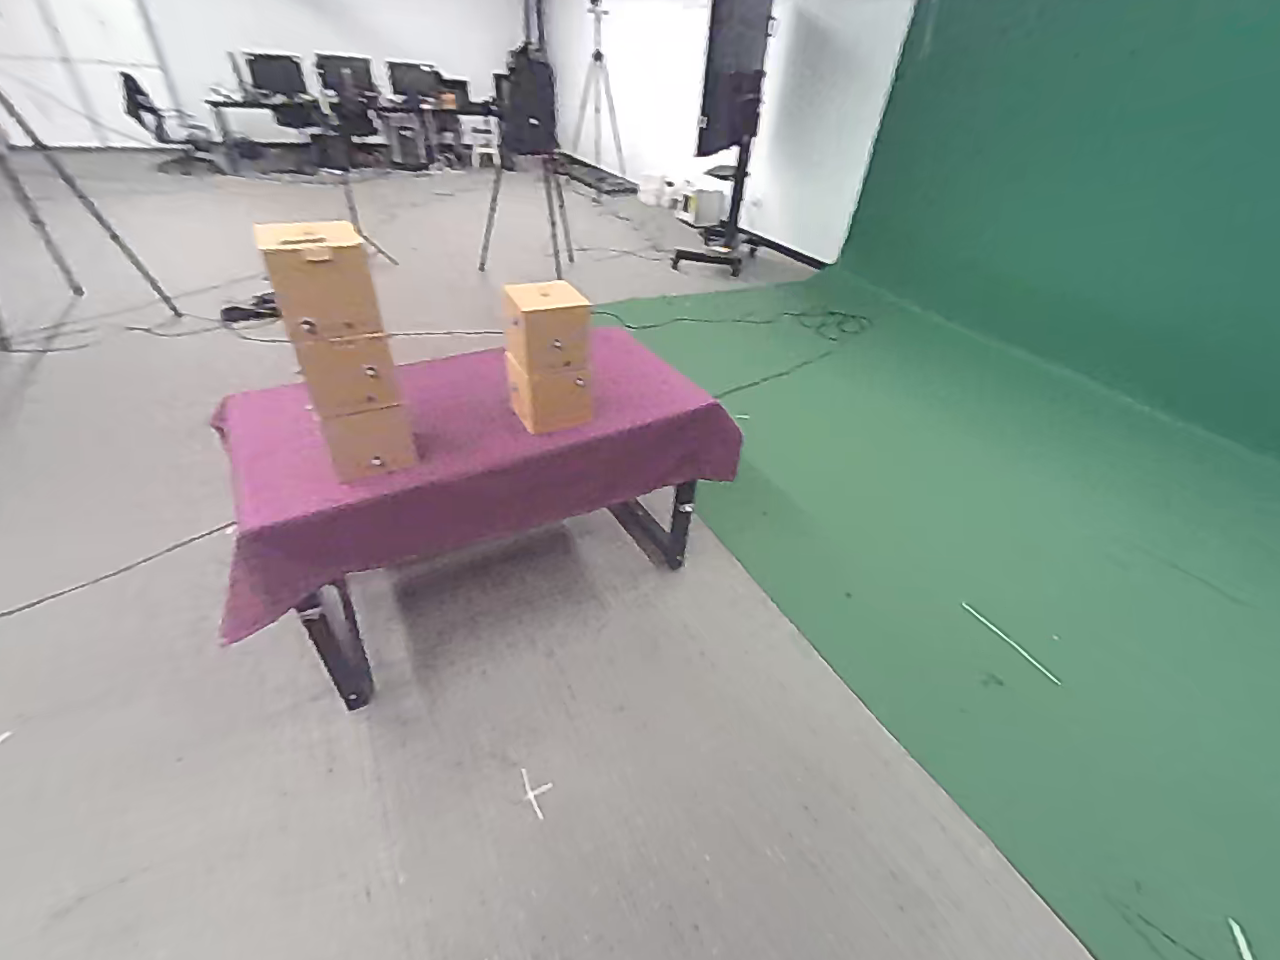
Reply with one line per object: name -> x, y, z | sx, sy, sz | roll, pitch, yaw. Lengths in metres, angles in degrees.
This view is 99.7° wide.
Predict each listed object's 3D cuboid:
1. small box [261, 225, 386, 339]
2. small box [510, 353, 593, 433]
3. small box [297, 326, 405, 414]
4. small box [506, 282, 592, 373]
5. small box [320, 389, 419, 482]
small box -> -0.610, -0.382, 1.051 | 0.168, 0.176, 0.179 | -17, 42, -27
small box -> -0.233, -0.242, 1.445 | 0.179, 0.176, 0.168 | -16, 42, -24
small box -> -0.612, -0.251, 1.150 | 0.168, 0.176, 0.179 | -15, 41, -24
small box -> -0.225, -0.375, 1.347 | 0.168, 0.176, 0.179 | -14, 41, -23
small box -> -0.621, -0.119, 1.247 | 0.179, 0.176, 0.168 | -16, 42, -25
